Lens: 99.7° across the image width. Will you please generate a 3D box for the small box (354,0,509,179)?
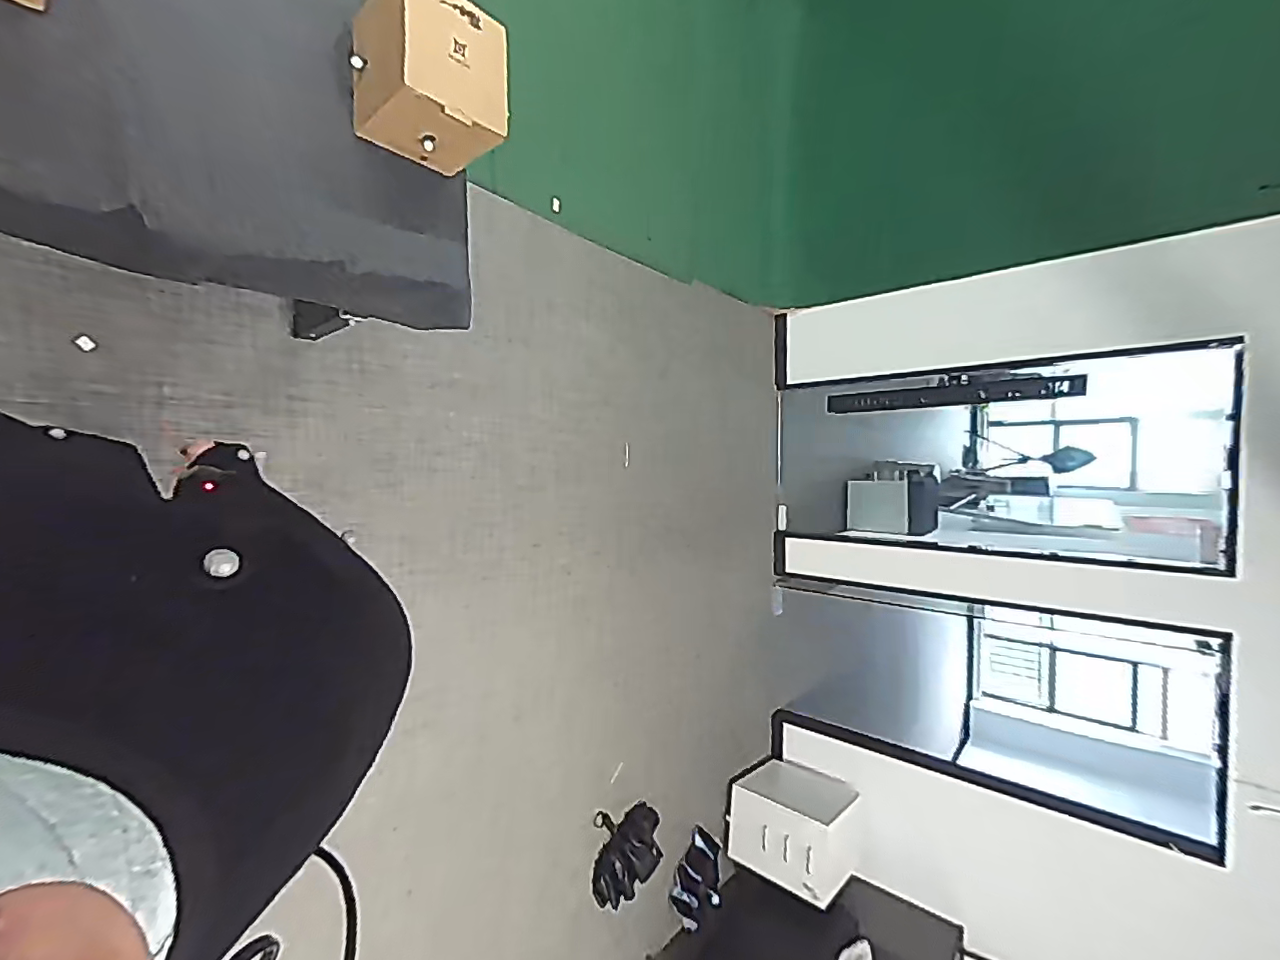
[{"bbox_3d":[-0.319,-0.600,0.829,0.168,0.176,0.179,-1,92,-50],"label":"small box"}]
